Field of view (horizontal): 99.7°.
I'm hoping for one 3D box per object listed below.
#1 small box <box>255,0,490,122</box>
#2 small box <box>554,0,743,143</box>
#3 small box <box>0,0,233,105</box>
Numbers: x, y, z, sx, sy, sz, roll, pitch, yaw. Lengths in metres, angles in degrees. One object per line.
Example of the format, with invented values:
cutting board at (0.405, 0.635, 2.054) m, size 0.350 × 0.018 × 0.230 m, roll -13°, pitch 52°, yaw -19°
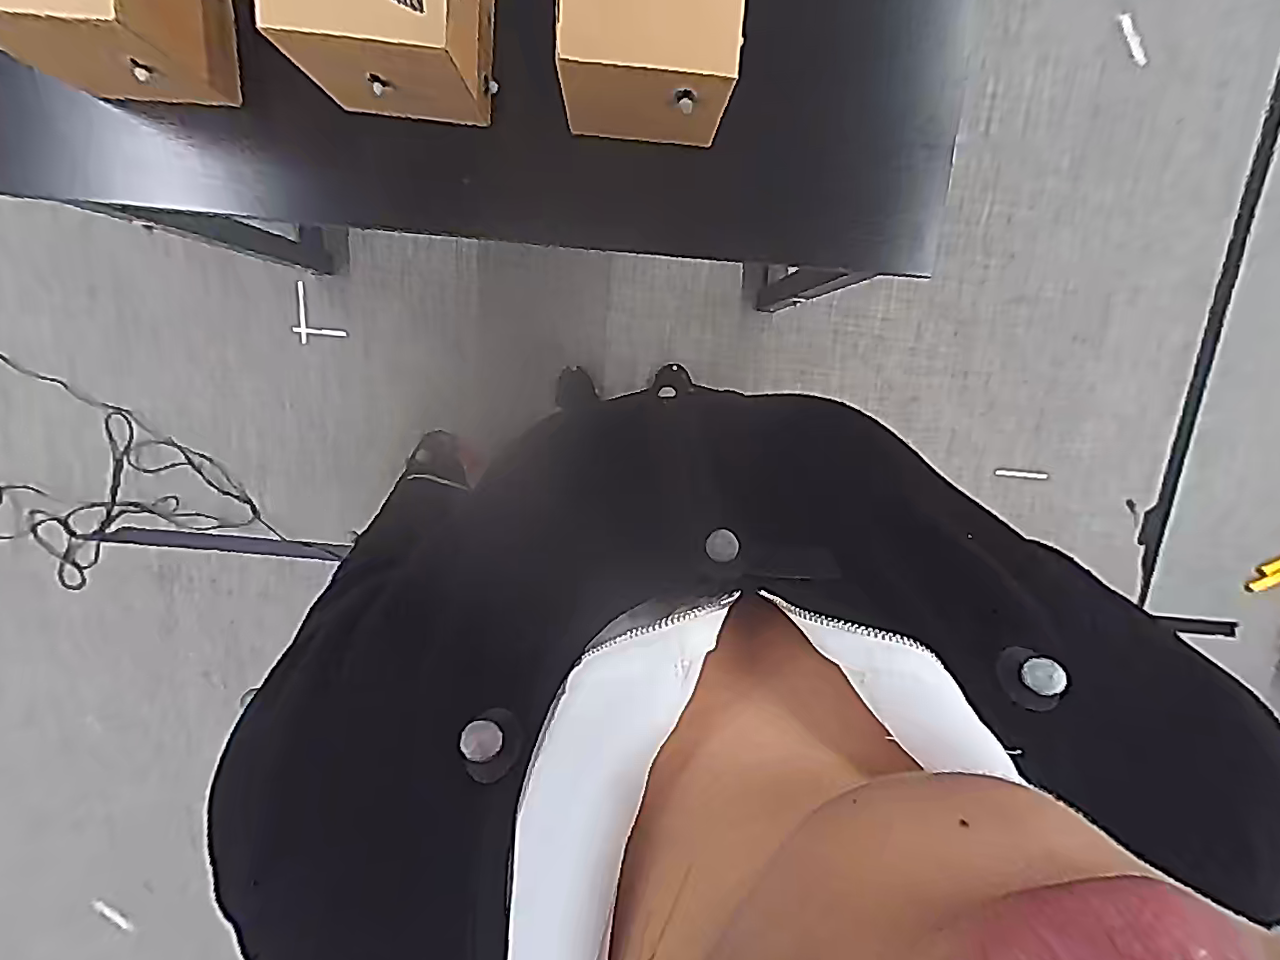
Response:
small box at (-0.261, -0.502, 0.562) m, size 0.179 × 0.176 × 0.168 m, roll 5°, pitch 102°, yaw -2°
small box at (0.008, -0.485, 0.575) m, size 0.179 × 0.176 × 0.168 m, roll 4°, pitch 101°, yaw -2°
small box at (-0.556, -0.513, 0.551) m, size 0.179 × 0.176 × 0.168 m, roll 1°, pitch 101°, yaw -2°
